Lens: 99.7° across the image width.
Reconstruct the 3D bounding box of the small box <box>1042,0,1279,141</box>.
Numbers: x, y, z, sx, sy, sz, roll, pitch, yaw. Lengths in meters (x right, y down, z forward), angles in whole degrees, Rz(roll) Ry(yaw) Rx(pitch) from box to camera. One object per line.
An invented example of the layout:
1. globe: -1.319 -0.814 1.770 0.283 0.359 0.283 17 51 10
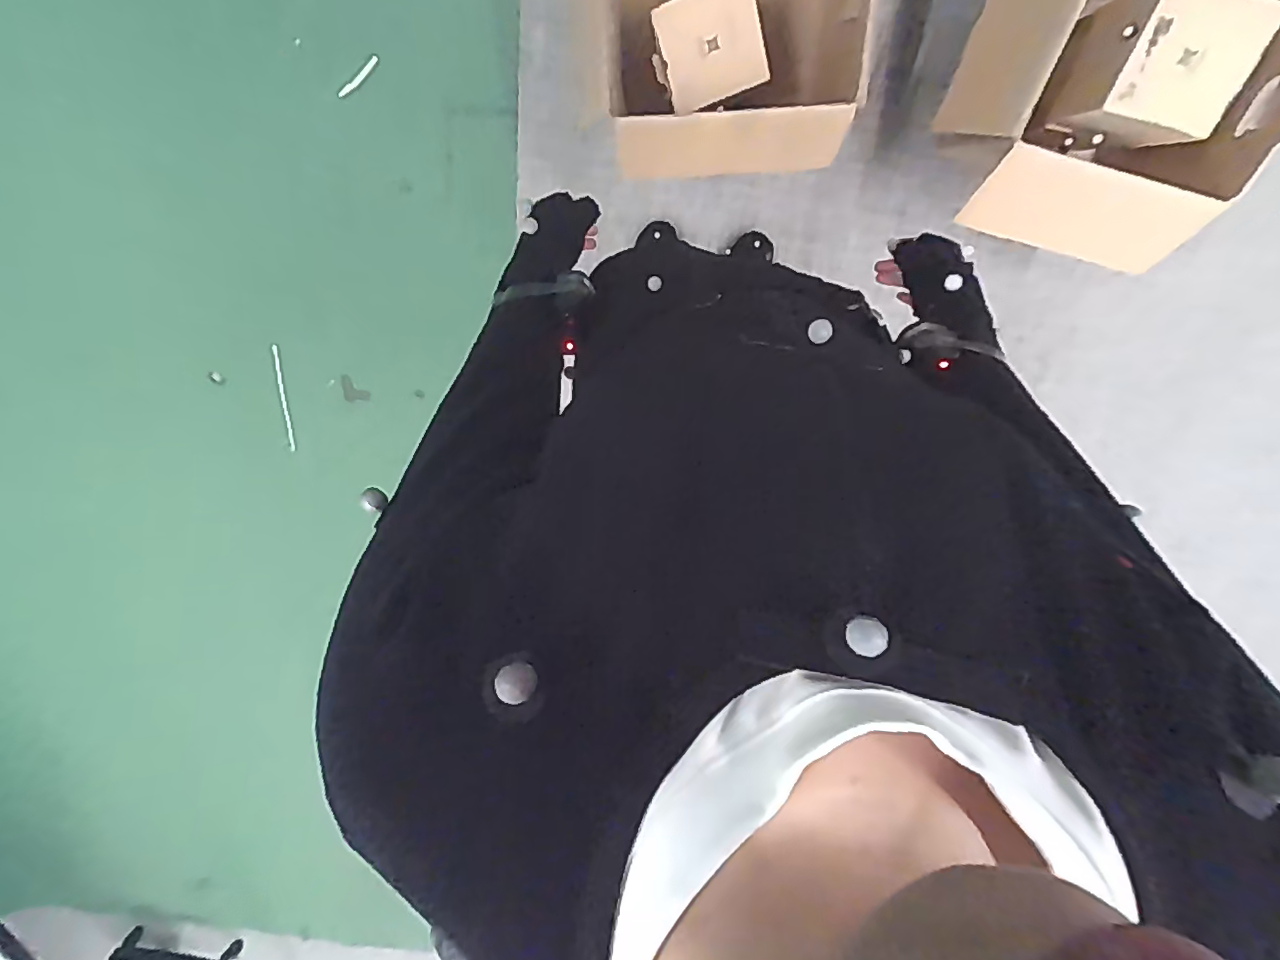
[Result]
1. small box: 0.812 -0.660 0.868 0.179 0.176 0.168 13 118 -2
